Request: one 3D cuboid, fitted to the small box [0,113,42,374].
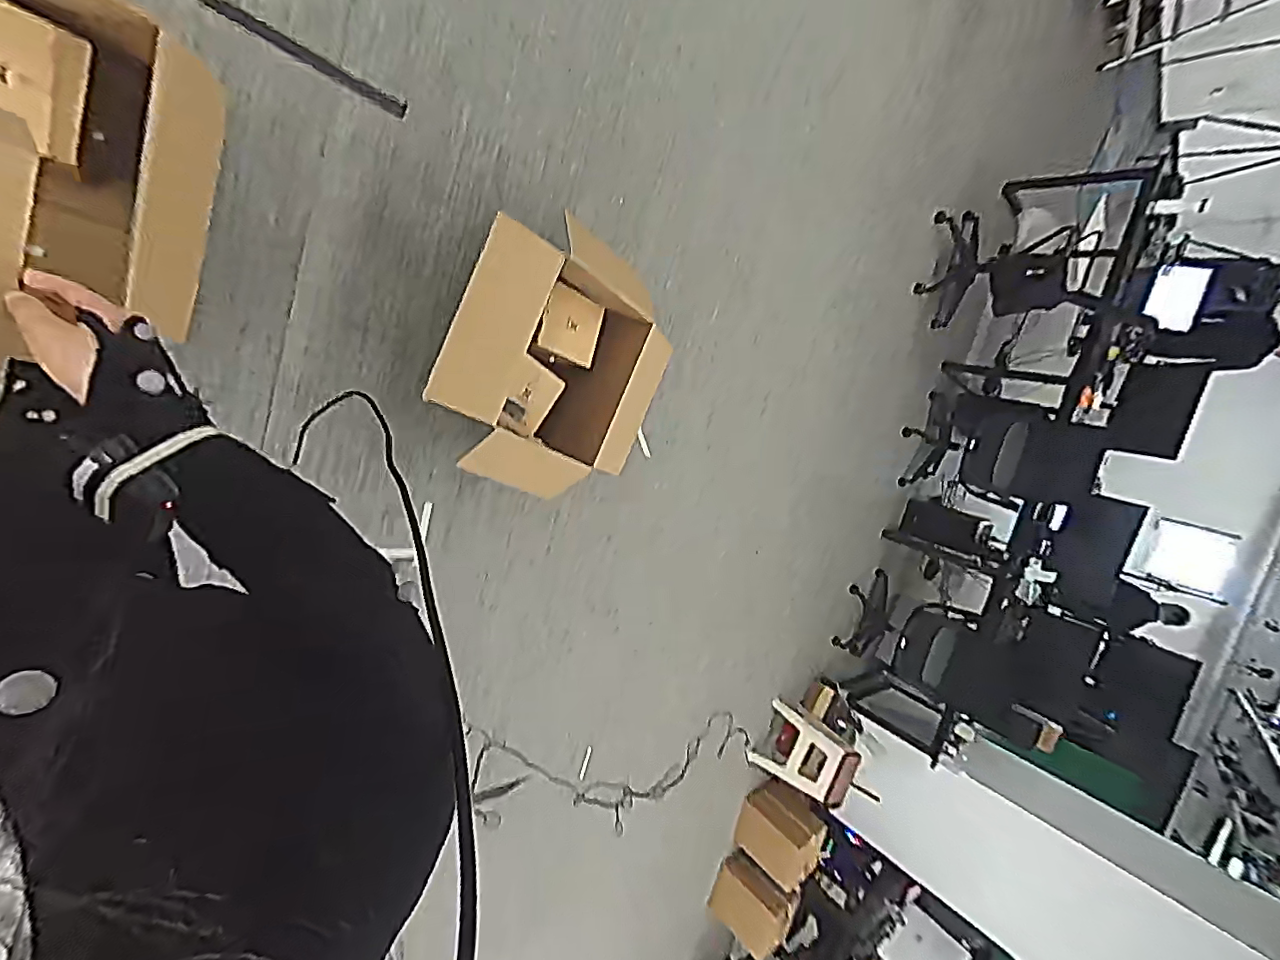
[{"bbox_3d":[-0.543,-0.194,0.356,0.179,0.176,0.168,6,115,-54],"label":"small box"}]
